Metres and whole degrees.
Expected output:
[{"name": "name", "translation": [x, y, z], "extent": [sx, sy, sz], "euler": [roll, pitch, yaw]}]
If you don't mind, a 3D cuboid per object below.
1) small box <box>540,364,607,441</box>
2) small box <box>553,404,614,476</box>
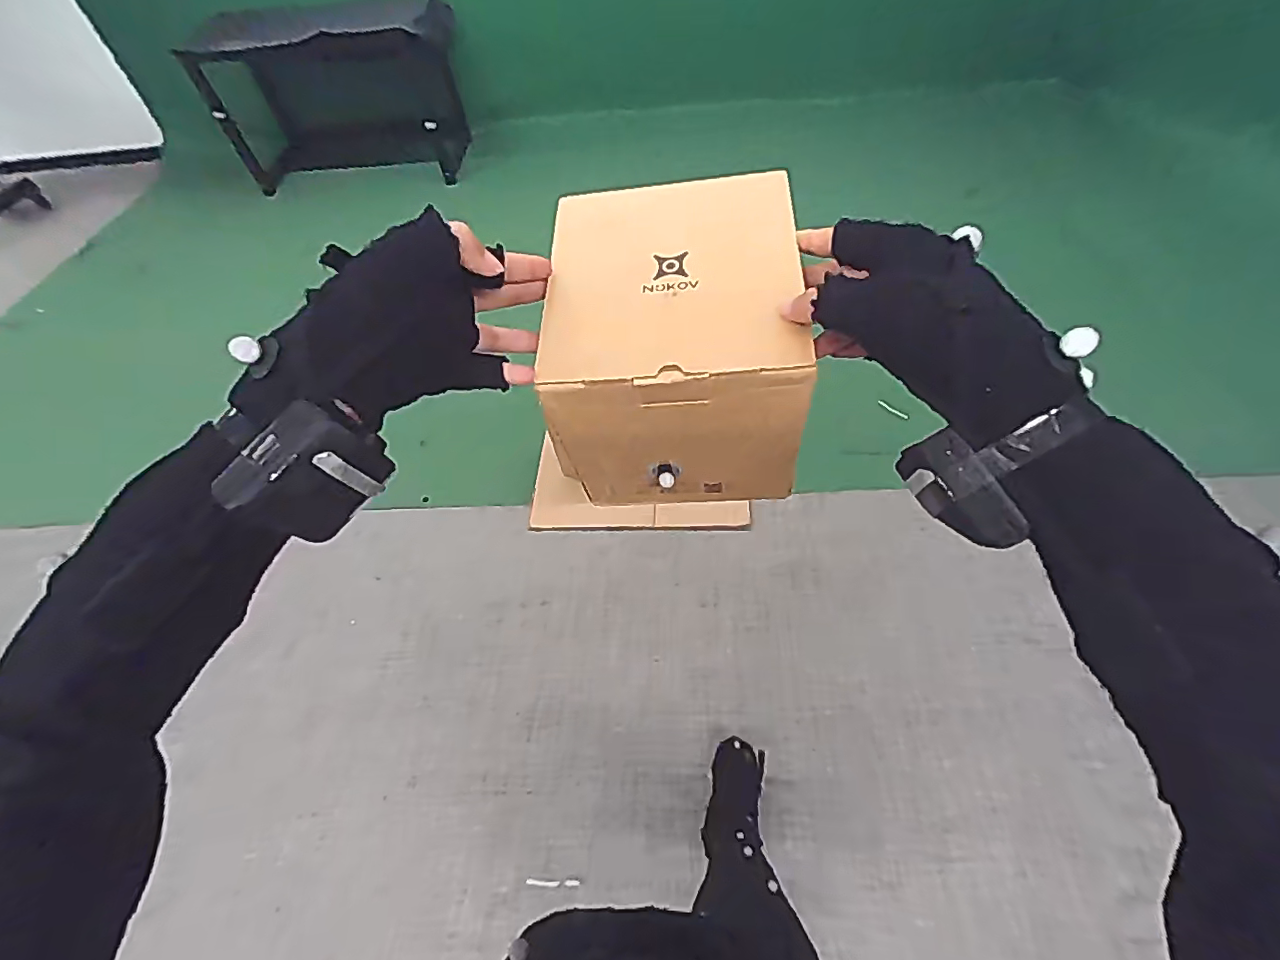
[{"name": "small box", "translation": [-0.197, -0.233, 1.664], "extent": [0.168, 0.176, 0.179], "euler": [-1, 52, 6]}, {"name": "small box", "translation": [-0.181, -0.133, 1.793], "extent": [0.168, 0.176, 0.179], "euler": [-3, 53, 5]}]
